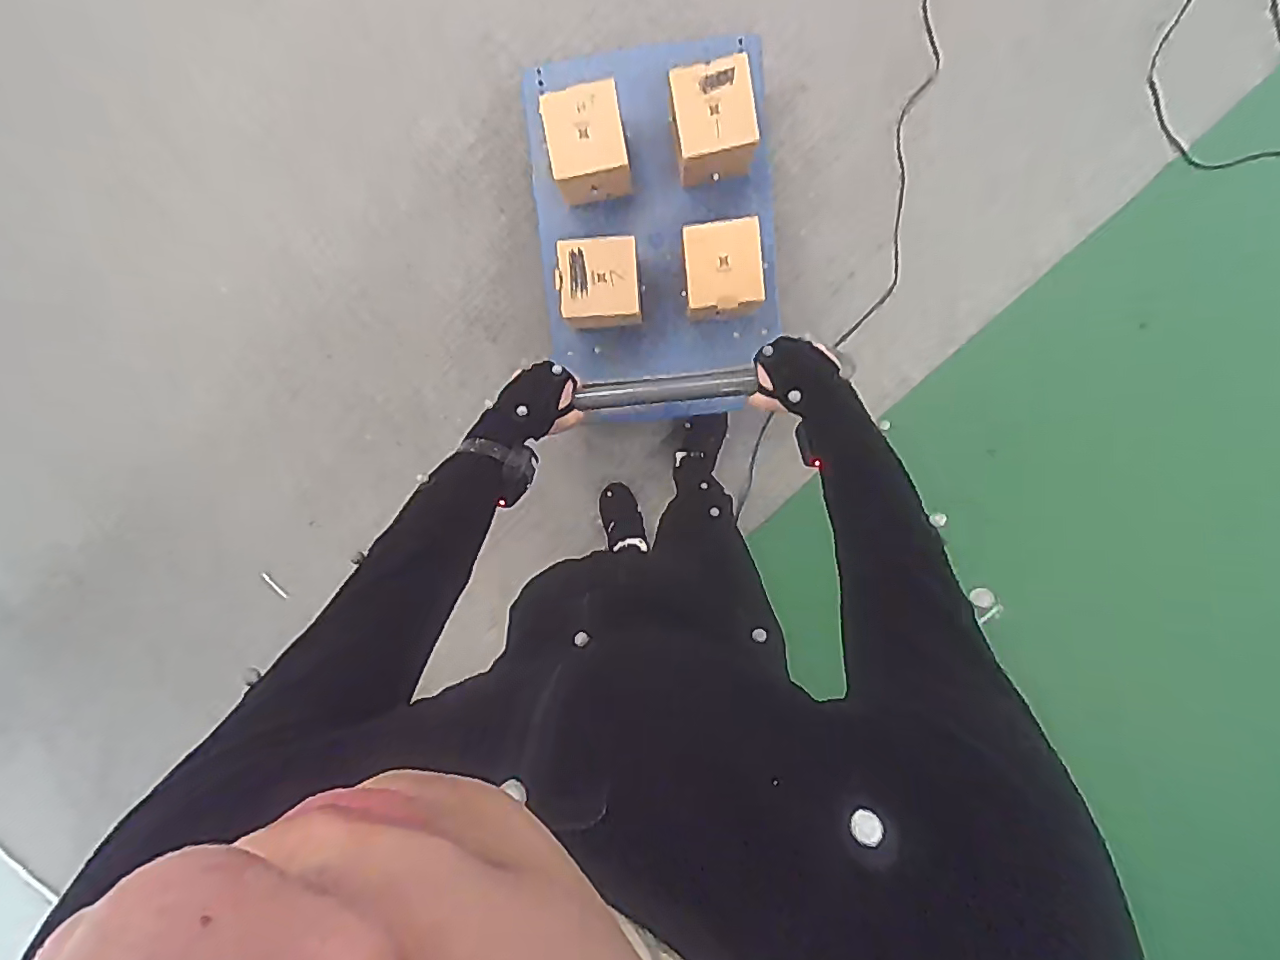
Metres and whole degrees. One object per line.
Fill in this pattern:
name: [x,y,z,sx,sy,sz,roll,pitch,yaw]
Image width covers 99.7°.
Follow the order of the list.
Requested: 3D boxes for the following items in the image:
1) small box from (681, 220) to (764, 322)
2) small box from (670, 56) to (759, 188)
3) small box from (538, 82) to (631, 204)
small box: [0.185,-0.474,1.250,0.168,0.176,0.179,-6,98,4]
small box: [0.159,-0.786,1.205,0.168,0.176,0.179,-10,98,5]
small box: [-0.118,-0.749,1.225,0.168,0.176,0.179,-9,97,4]
